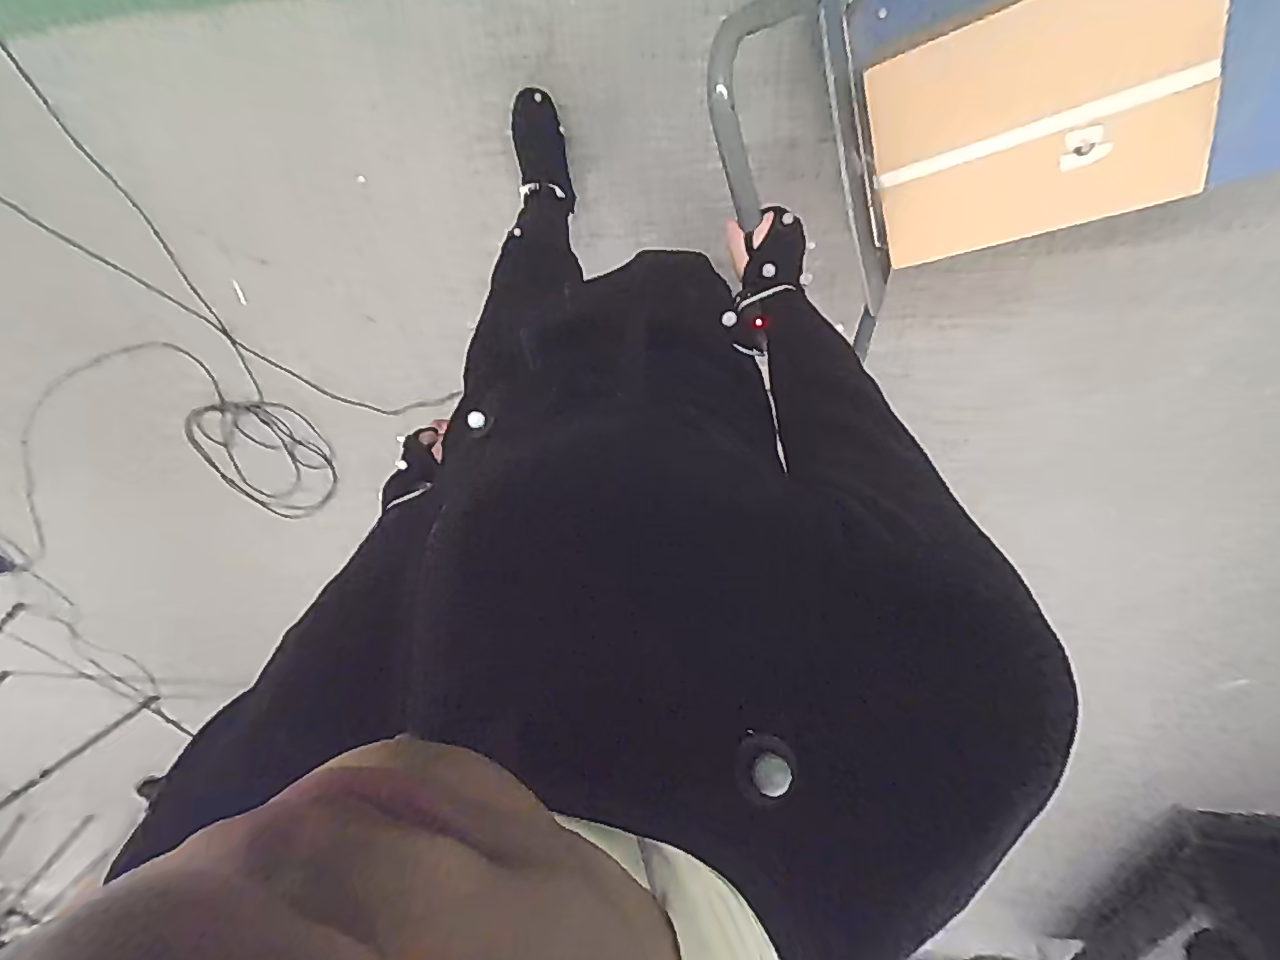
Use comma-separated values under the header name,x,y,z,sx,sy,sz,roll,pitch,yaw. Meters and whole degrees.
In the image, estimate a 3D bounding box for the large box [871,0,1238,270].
name,x,y,z,sx,sy,sz,roll,pitch,yaw
large box,0.623,-0.597,0.885,0.408,0.320,0.320,-5,127,30
